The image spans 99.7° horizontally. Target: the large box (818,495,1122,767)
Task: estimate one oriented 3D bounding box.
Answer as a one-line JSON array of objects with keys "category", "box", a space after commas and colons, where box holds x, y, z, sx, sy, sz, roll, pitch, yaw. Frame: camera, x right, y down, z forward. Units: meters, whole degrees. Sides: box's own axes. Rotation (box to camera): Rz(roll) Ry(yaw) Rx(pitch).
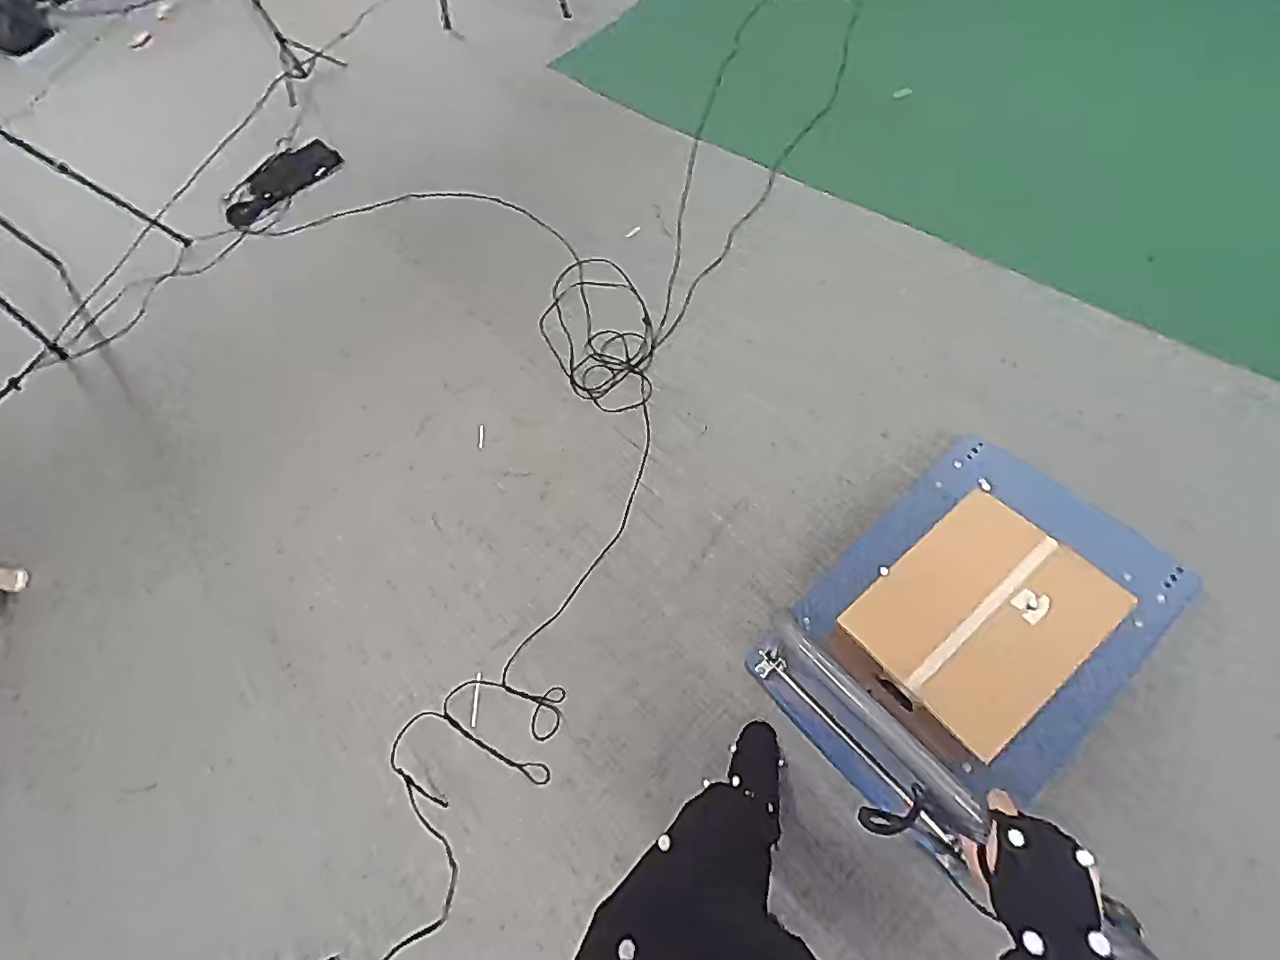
[{"category": "large box", "box": [0.629, 0.317, 1.107, 0.408, 0.320, 0.320, -39, 63, -10]}]
